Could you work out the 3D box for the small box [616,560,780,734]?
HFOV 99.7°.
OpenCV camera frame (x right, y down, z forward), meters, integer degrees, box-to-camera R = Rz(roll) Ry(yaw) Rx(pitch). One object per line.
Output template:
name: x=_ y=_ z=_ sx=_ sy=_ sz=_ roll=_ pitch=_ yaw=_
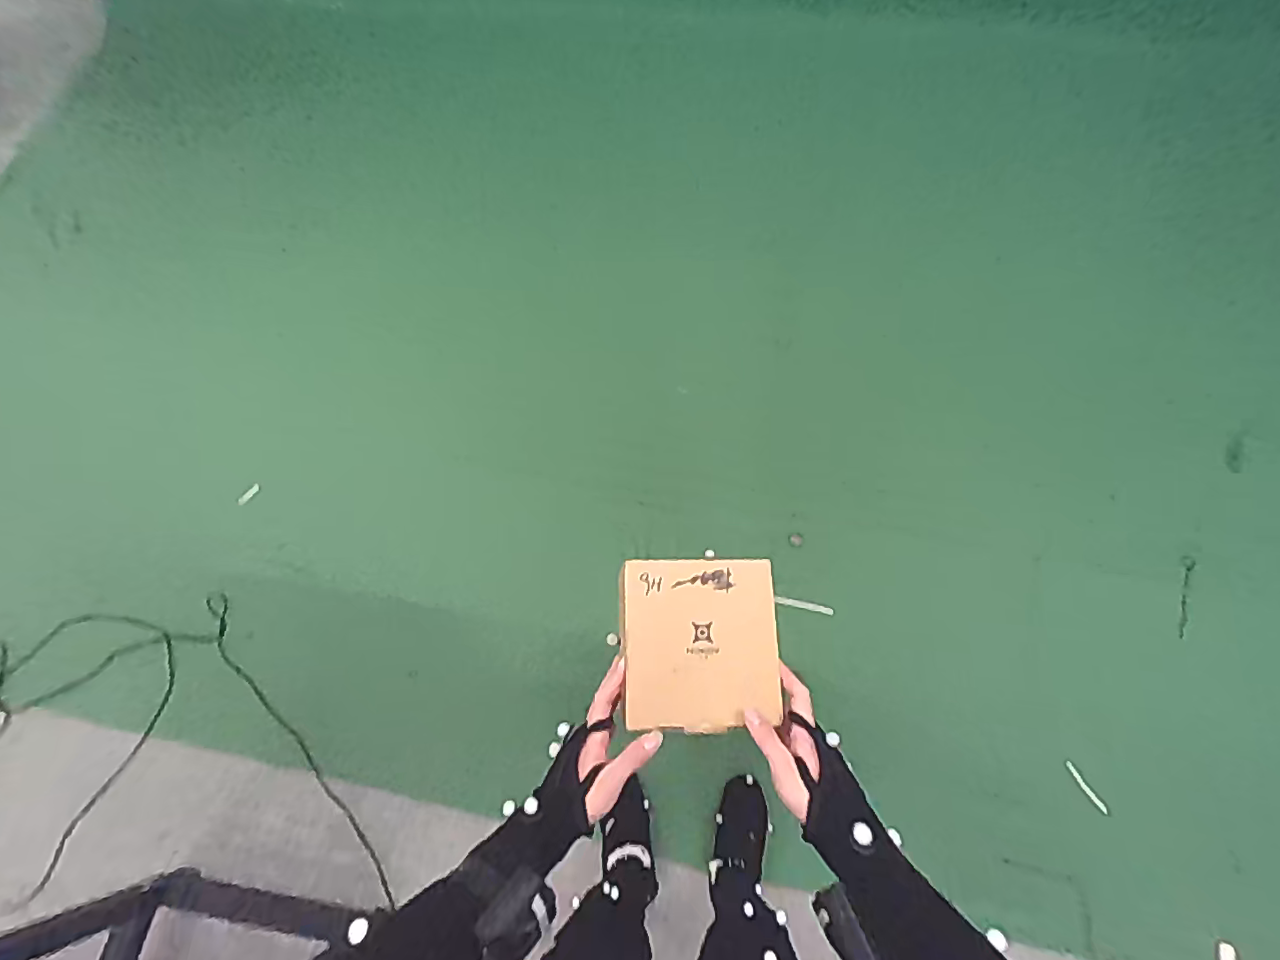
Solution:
small box: x=0.058 y=0.191 z=0.644 sx=0.168 sy=0.176 sz=0.179 roll=1 pitch=75 yaw=-4
